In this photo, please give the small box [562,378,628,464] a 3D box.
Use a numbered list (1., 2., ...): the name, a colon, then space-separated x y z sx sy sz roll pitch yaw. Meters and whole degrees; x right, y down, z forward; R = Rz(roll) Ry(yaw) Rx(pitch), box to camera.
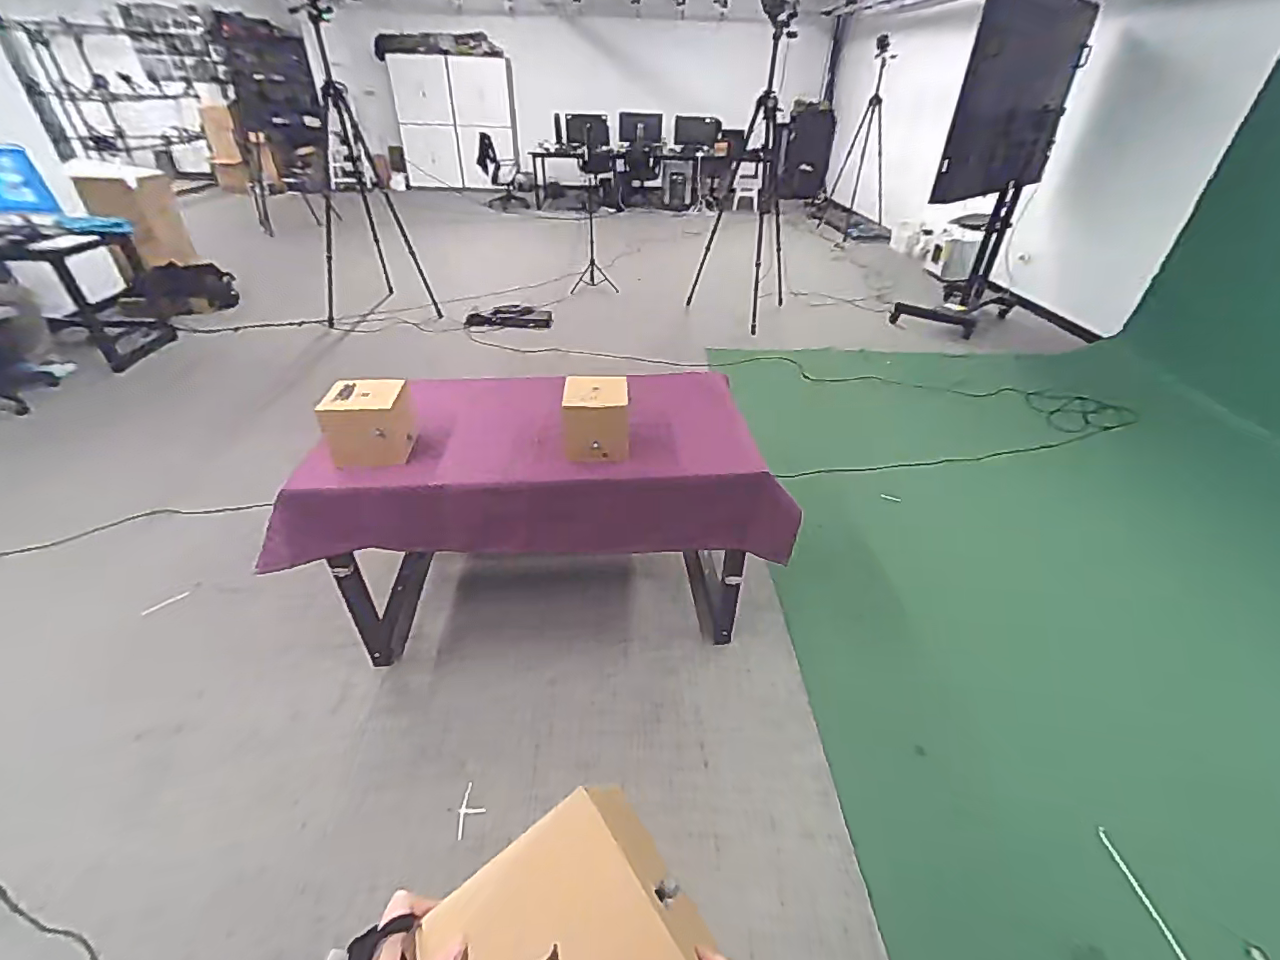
1. small box: -0.117 -0.159 1.447 0.168 0.176 0.179 -1 36 -2
